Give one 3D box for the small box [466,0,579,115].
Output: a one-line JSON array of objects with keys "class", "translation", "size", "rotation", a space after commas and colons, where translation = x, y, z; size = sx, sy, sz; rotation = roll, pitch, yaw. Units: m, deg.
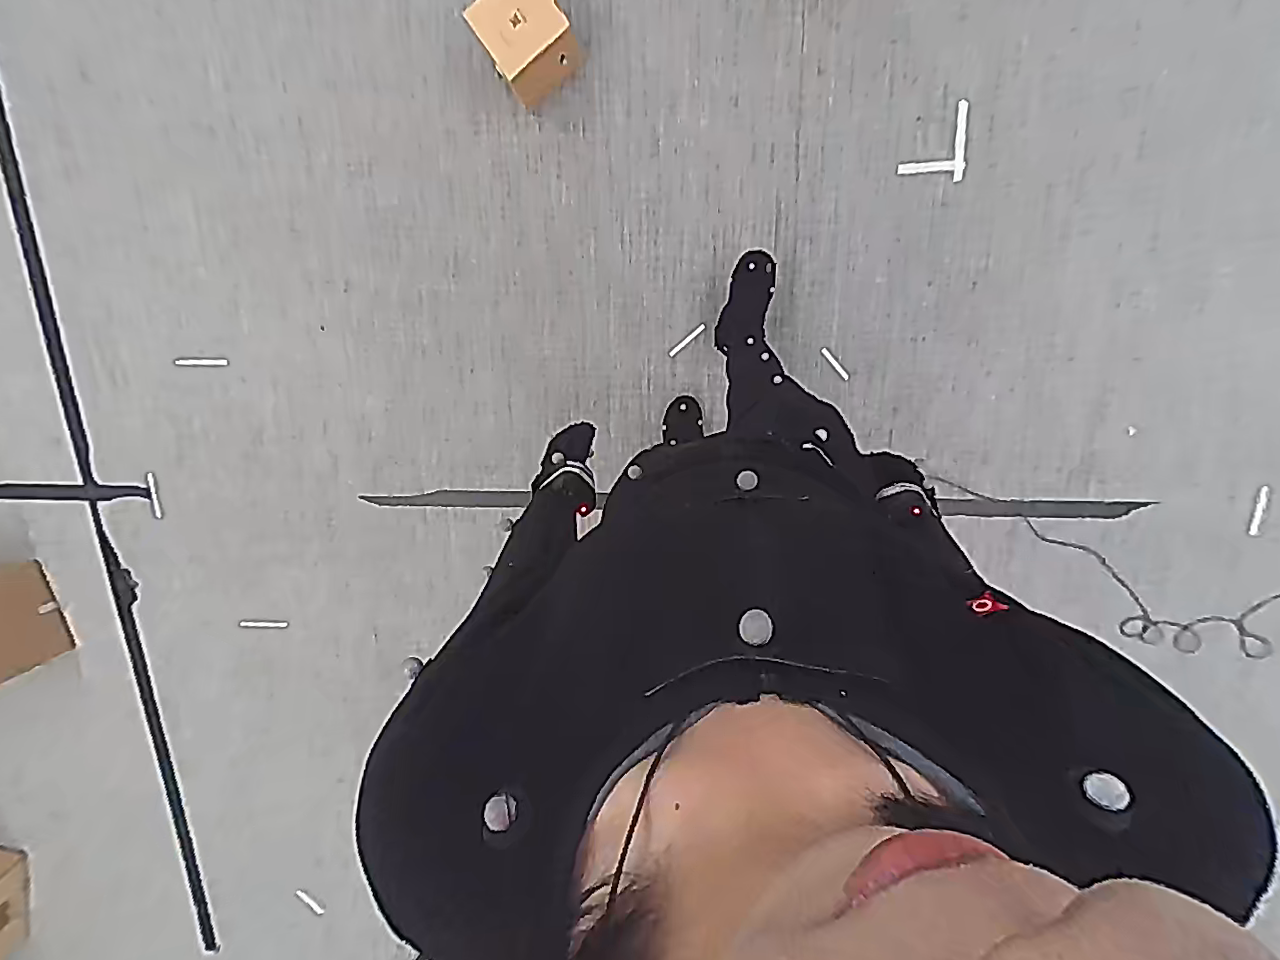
[{"class": "small box", "translation": [-0.255, -0.992, 1.234], "size": [0.179, 0.176, 0.168], "rotation": [-36, 97, 11]}]
